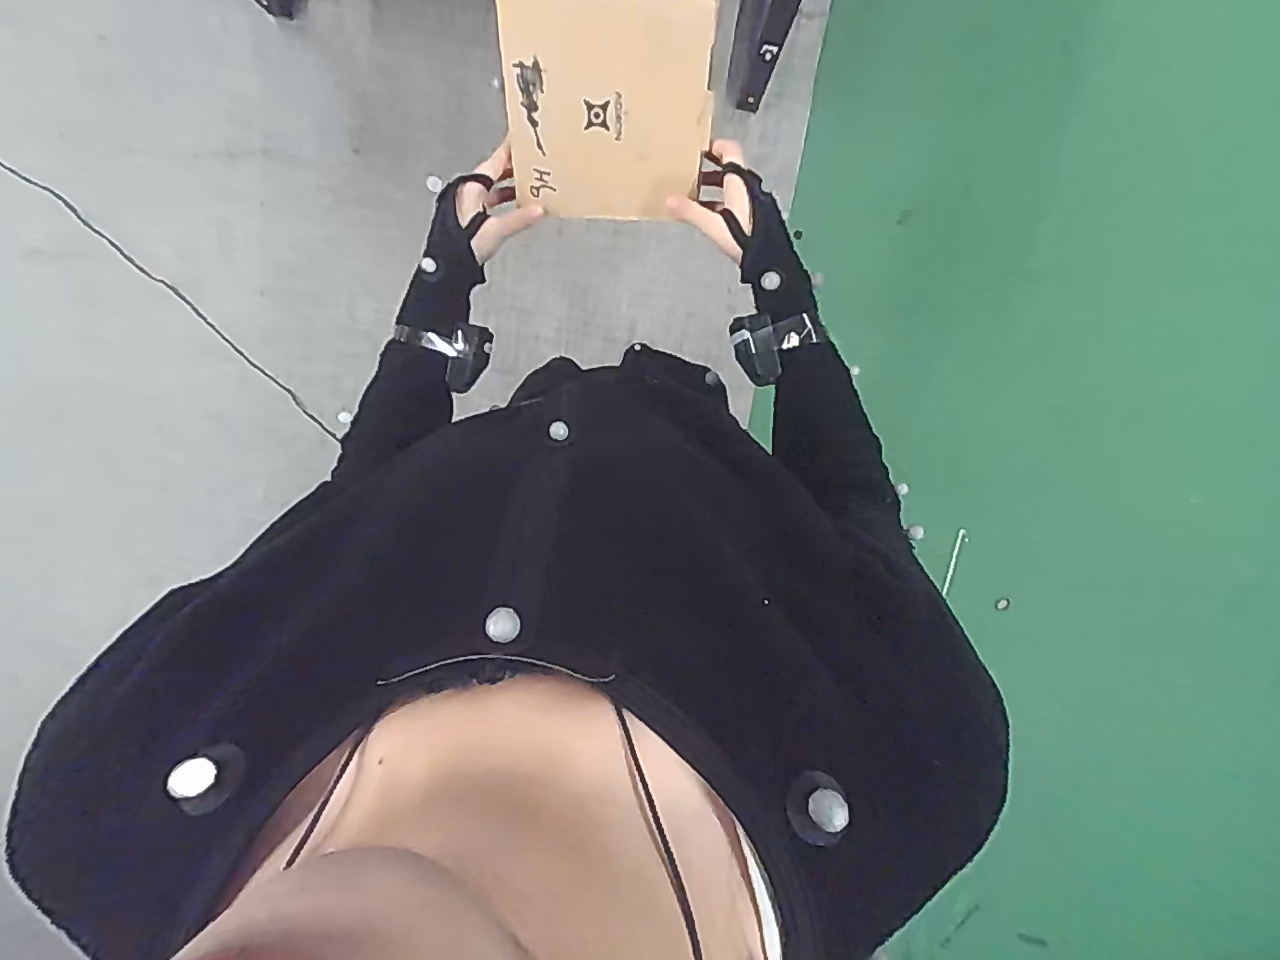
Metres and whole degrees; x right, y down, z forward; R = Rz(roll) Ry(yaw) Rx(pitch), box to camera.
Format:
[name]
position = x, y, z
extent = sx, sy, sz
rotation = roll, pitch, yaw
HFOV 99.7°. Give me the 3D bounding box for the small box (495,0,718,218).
[small box]
position = -0.029, -0.367, 0.525
extent = 0.179, 0.176, 0.168
rotation = 2, 129, -1
